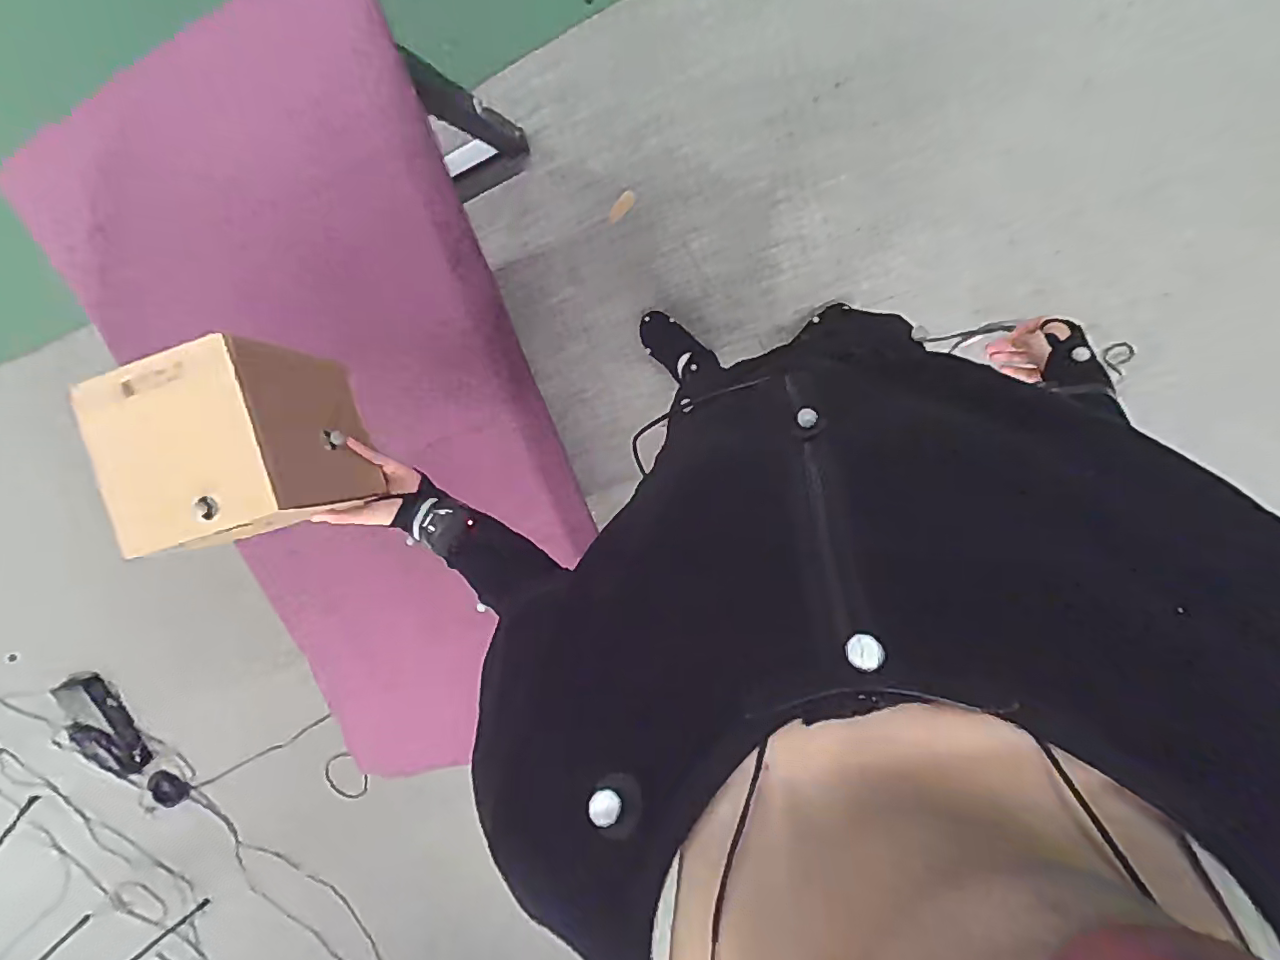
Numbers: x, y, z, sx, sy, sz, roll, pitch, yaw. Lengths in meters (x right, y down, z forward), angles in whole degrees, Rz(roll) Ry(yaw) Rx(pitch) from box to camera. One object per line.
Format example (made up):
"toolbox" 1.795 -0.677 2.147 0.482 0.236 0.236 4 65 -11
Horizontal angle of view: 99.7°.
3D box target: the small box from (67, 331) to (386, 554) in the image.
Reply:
"small box" -0.401 -0.042 0.552 0.168 0.179 0.176 -16 94 6
